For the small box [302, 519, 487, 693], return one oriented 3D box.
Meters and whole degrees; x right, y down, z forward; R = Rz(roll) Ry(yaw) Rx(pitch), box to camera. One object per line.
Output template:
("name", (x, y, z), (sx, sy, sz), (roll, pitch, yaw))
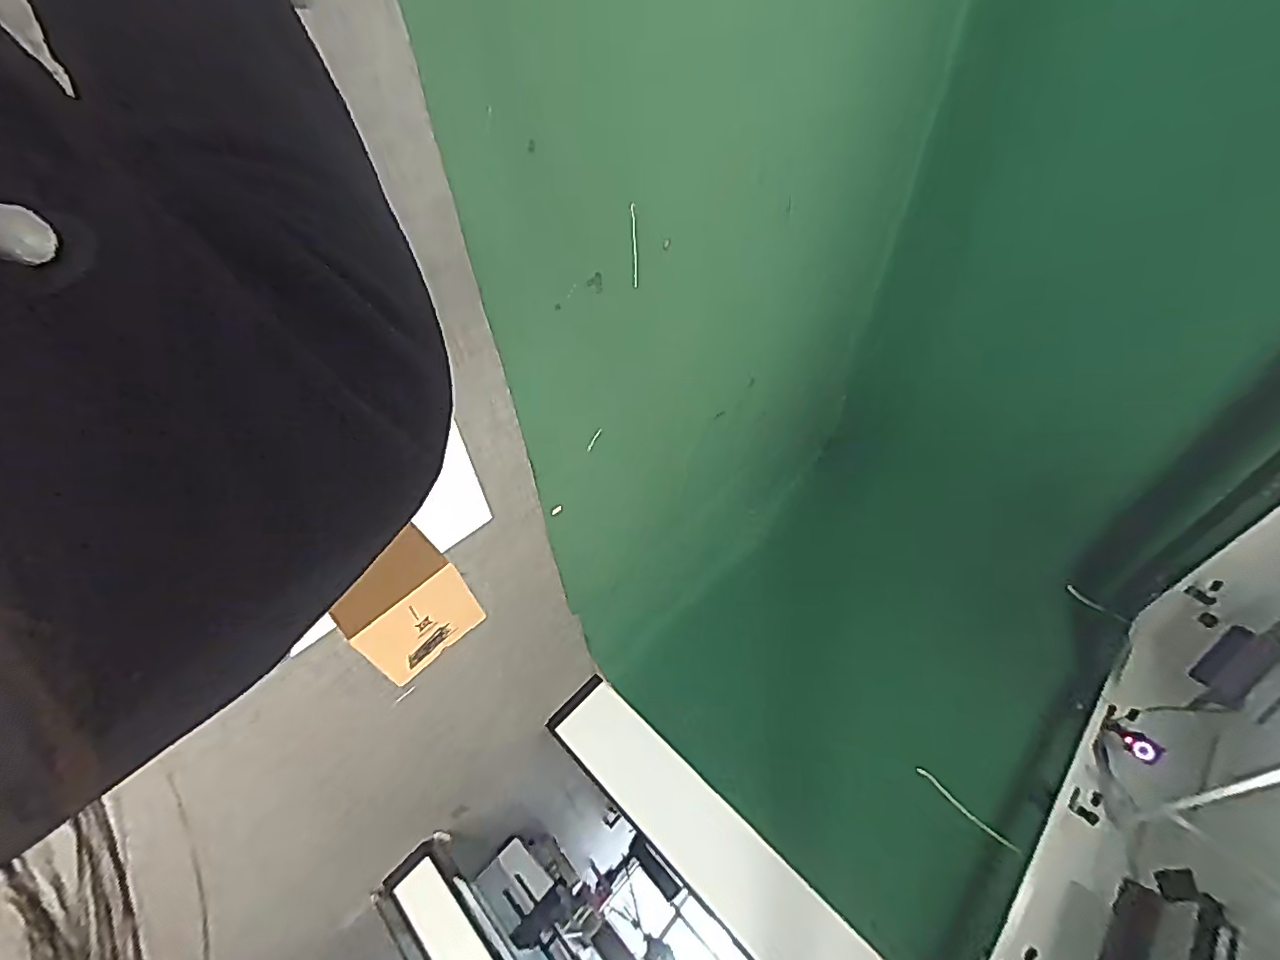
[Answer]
("small box", (-0.376, 0.192, 0.842), (0.168, 0.176, 0.179), (-42, 149, -22))
